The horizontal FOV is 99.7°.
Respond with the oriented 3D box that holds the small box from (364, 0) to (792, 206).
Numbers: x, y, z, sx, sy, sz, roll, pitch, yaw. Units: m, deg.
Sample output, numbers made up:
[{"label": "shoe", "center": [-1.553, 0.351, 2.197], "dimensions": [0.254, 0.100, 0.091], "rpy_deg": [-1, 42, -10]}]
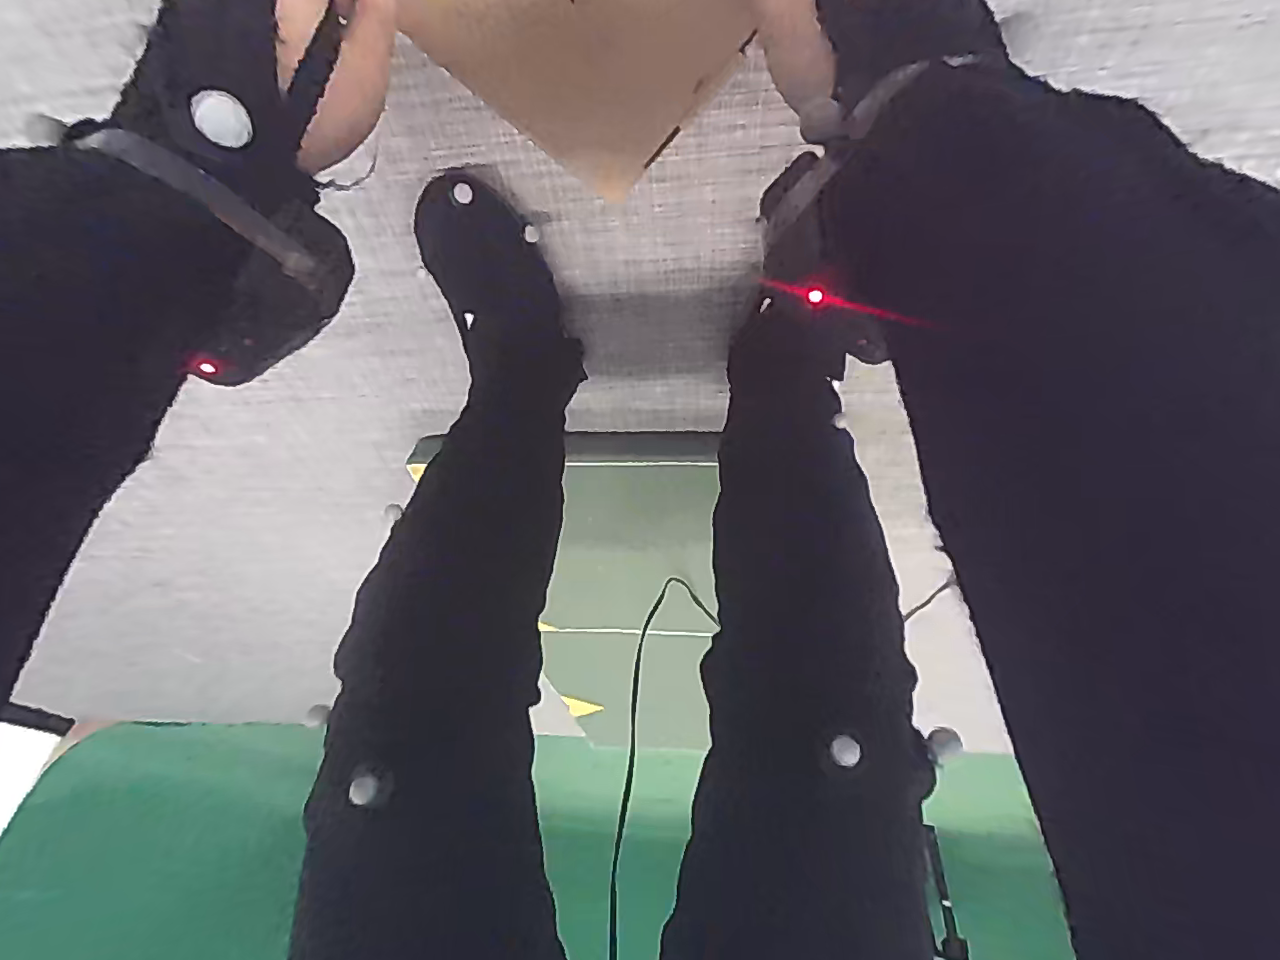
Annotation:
[{"label": "small box", "center": [-0.024, -0.309, 0.304], "dimensions": [0.179, 0.176, 0.168], "rpy_deg": [29, 136, -29]}]
